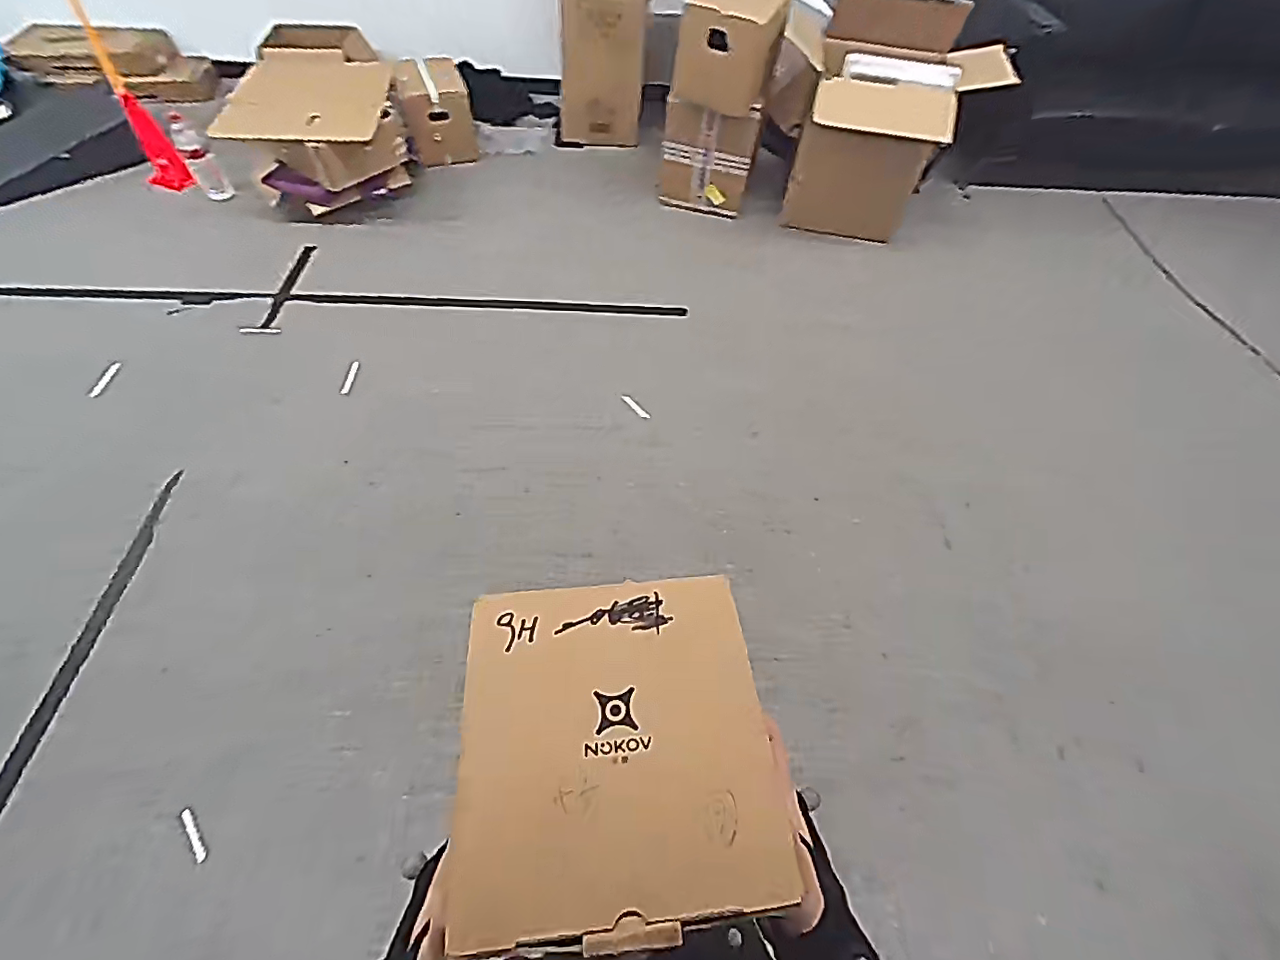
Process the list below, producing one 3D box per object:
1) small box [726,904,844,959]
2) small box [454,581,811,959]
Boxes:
[{"bbox_3d":[0.244,0.834,0.920,0.168,0.176,0.179,-1,56,-3],"label":"small box"},{"bbox_3d":[-0.013,0.187,0.353,0.168,0.176,0.179,-3,52,-7],"label":"small box"}]
